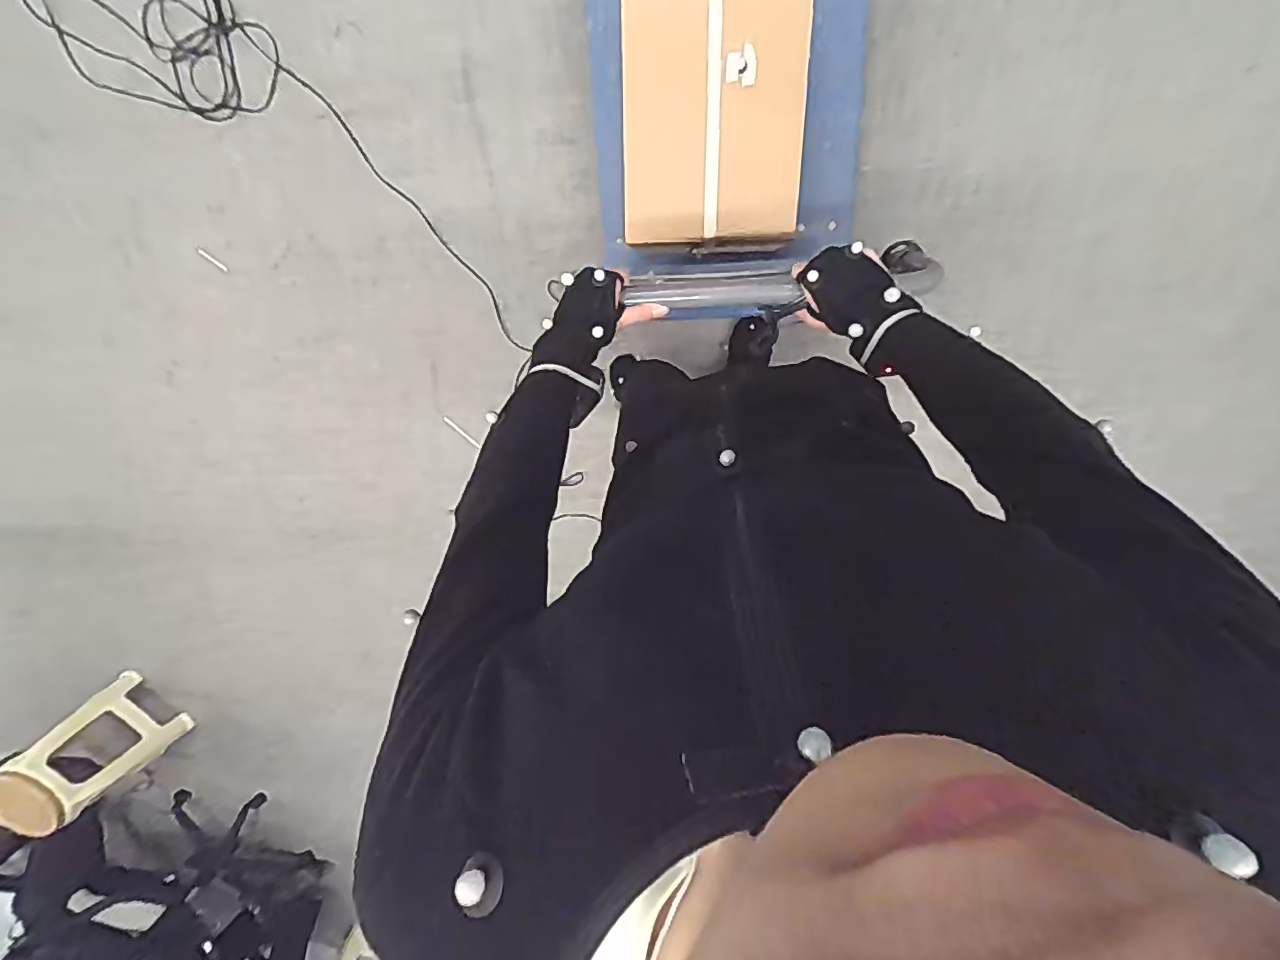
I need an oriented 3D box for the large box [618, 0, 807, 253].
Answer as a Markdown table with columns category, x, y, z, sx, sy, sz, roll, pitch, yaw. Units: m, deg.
| category | x | y | z | sx | sy | sz | roll | pitch | yaw |
| --- | --- | --- | --- | --- | --- | --- | --- | --- | --- |
| large box | 0.139 | -0.682 | 1.075 | 0.320 | 0.320 | 0.408 | 2 | 109 | 6 |
